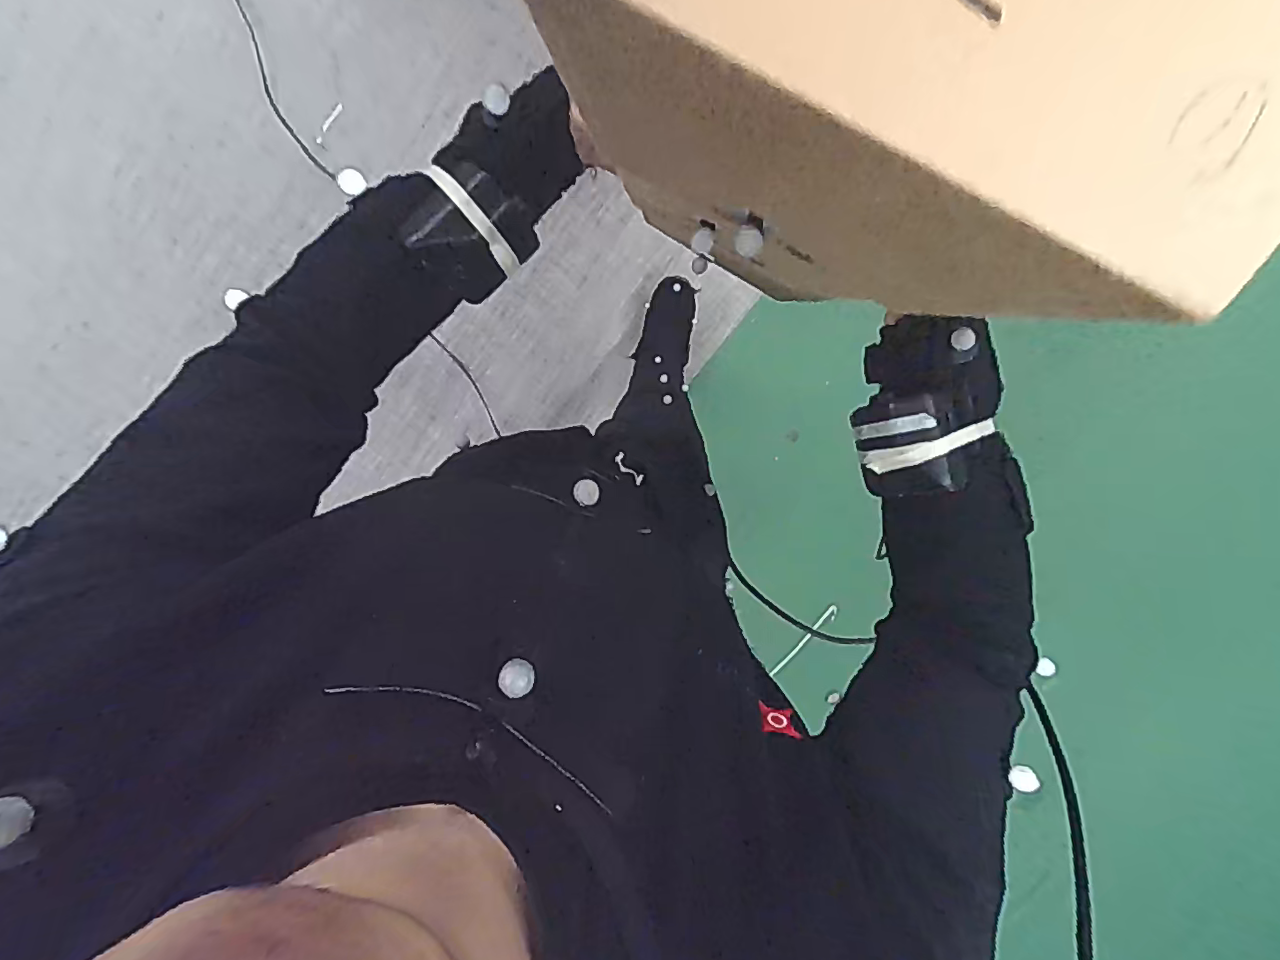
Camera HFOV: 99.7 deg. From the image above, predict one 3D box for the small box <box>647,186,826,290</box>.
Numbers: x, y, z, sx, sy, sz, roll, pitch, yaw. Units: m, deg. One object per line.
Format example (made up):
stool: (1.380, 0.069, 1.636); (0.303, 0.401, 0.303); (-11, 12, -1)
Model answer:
small box: (0.116, -0.283, 0.465); (0.168, 0.176, 0.179); (27, 109, -5)

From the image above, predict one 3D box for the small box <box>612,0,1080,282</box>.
small box: (0.101, -0.229, 0.312); (0.168, 0.176, 0.179); (25, 108, -5)
